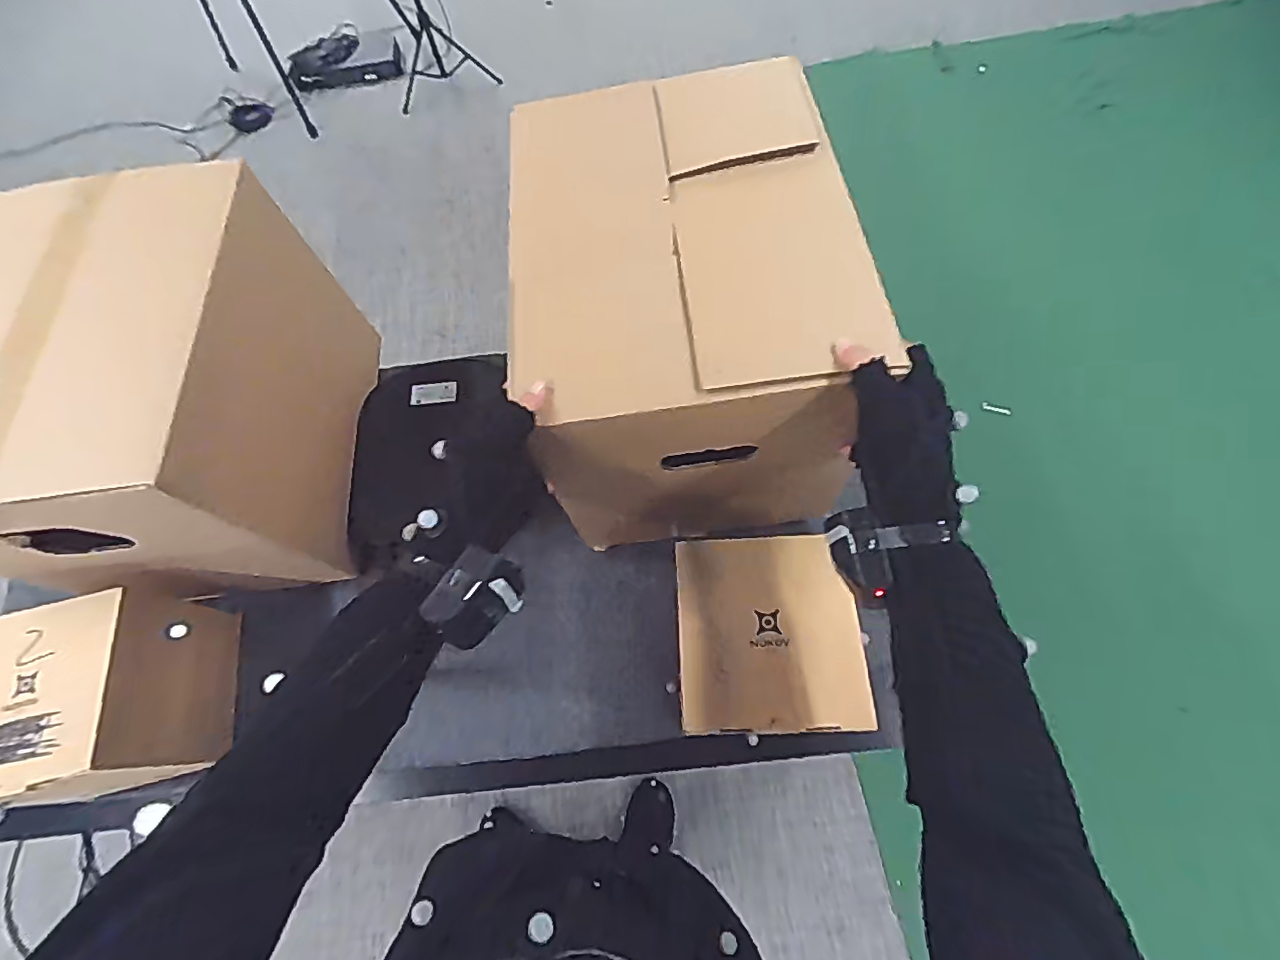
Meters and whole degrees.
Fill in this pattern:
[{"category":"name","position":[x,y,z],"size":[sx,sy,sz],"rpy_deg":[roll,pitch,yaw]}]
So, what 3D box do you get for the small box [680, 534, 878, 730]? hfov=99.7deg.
[{"category":"small box","position":[0.127,0.167,0.571],"size":[0.168,0.176,0.179],"rpy_deg":[-3,66,4]}]
